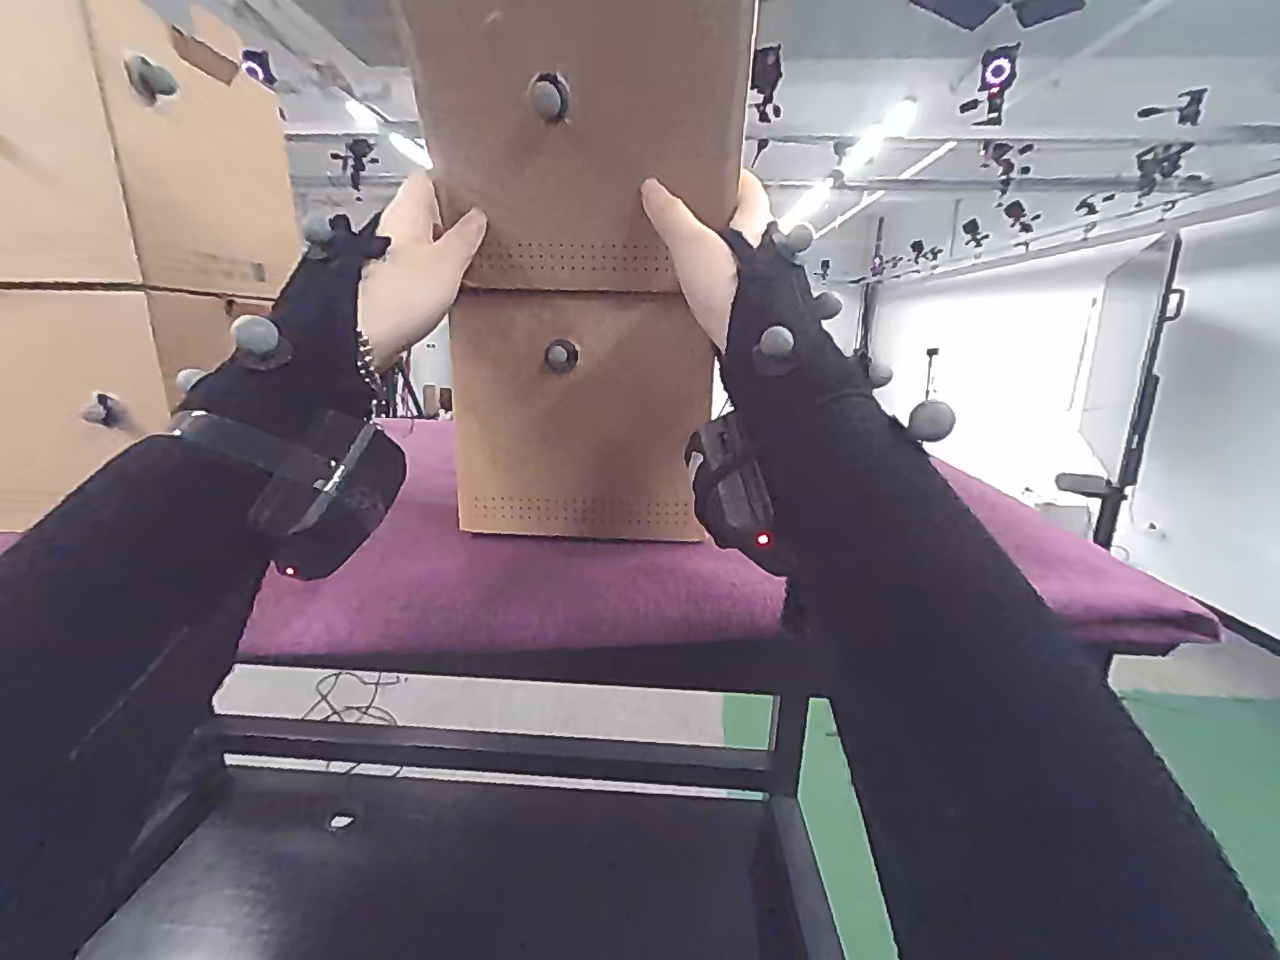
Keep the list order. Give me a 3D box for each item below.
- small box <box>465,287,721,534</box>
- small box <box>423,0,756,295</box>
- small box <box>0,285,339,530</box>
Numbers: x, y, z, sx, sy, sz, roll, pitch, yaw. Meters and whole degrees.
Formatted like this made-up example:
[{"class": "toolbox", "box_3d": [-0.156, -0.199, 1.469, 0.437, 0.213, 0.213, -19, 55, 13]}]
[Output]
[{"class": "small box", "box_3d": [-0.028, -0.057, 0.448, 0.179, 0.176, 0.168, 3, 12, 4]}, {"class": "small box", "box_3d": [-0.019, -0.231, 0.366, 0.179, 0.176, 0.168, 2, 36, 4]}, {"class": "small box", "box_3d": [-0.378, -0.062, 0.442, 0.179, 0.176, 0.168, 1, 14, 2]}]
